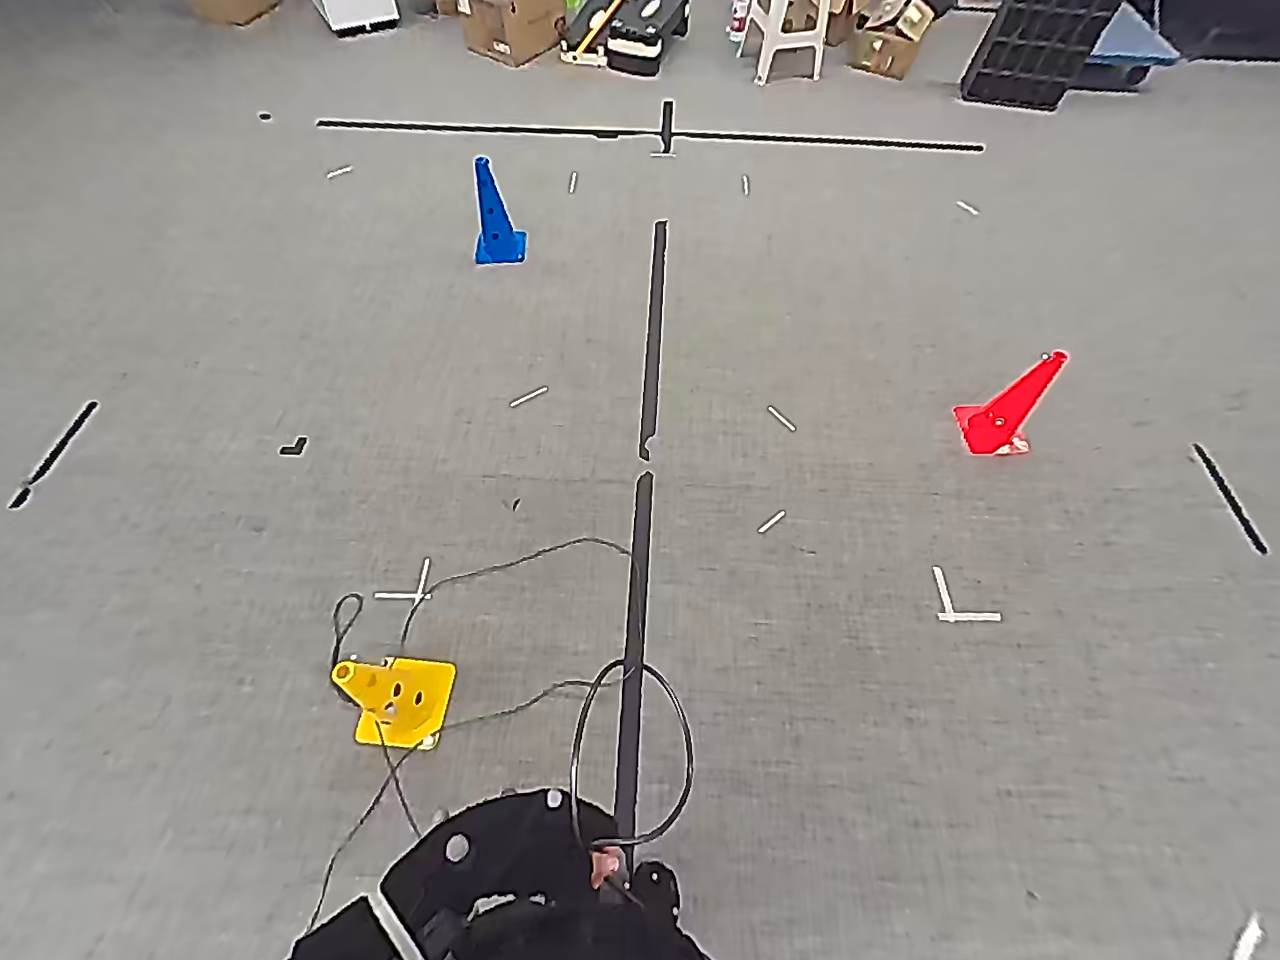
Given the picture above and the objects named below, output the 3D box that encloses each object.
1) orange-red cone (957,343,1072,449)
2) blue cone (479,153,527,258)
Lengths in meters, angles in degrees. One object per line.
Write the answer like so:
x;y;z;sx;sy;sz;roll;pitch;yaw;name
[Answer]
1.173;-0.275;1.644;0.198;0.360;0.199;-1;58;-2;orange-red cone
-0.563;-1.062;2.091;0.192;0.380;0.193;-2;59;-2;blue cone
